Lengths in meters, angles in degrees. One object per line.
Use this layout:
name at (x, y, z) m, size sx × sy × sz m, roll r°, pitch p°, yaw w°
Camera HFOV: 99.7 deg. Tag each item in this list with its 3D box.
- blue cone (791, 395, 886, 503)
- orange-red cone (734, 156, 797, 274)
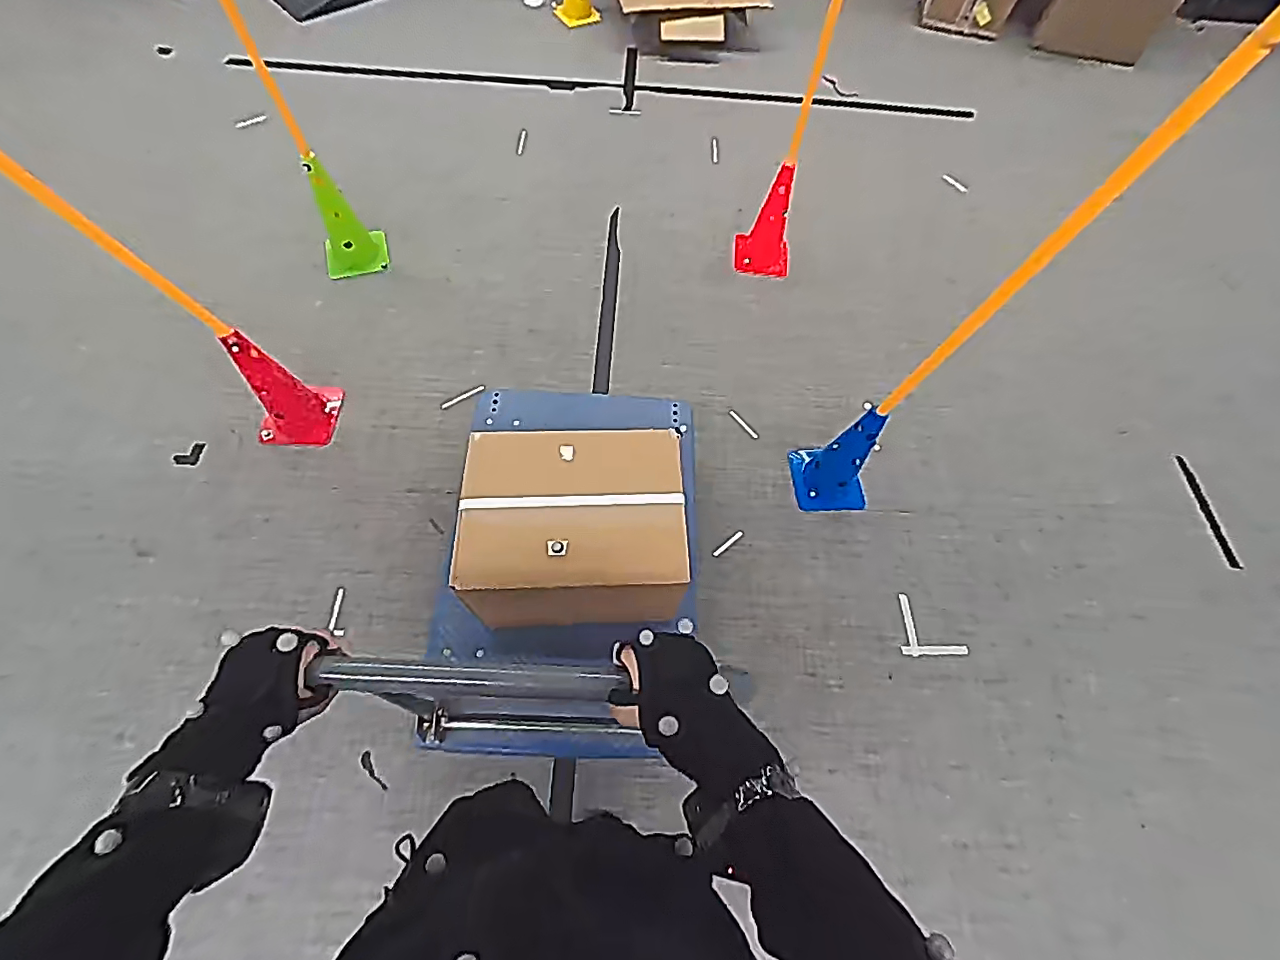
blue cone at (0.558, -0.093, 1.439) m, size 0.193 × 0.380 × 0.192 m, roll 0°, pitch 62°, yaw -4°
orange-red cone at (0.458, -0.913, 1.825) m, size 0.199 × 0.360 × 0.198 m, roll 9°, pitch 64°, yaw 0°
